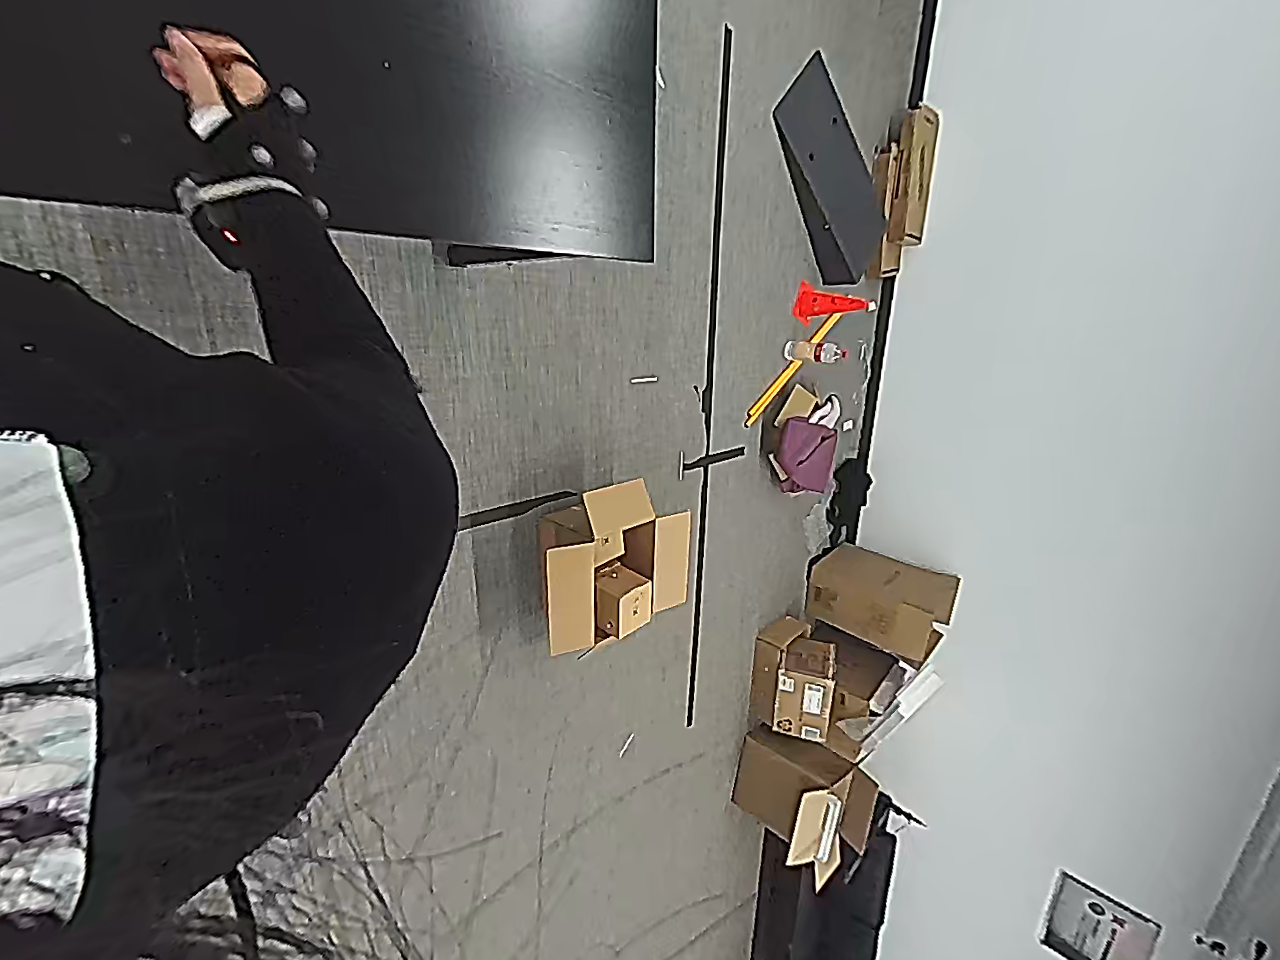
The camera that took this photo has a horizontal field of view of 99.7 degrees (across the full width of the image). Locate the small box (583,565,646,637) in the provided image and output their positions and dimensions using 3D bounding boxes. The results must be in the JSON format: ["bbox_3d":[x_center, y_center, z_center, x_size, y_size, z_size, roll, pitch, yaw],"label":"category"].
[{"bbox_3d":[-0.096,0.437,1.981,0.168,0.176,0.179,-20,118,-43],"label":"small box"}]
